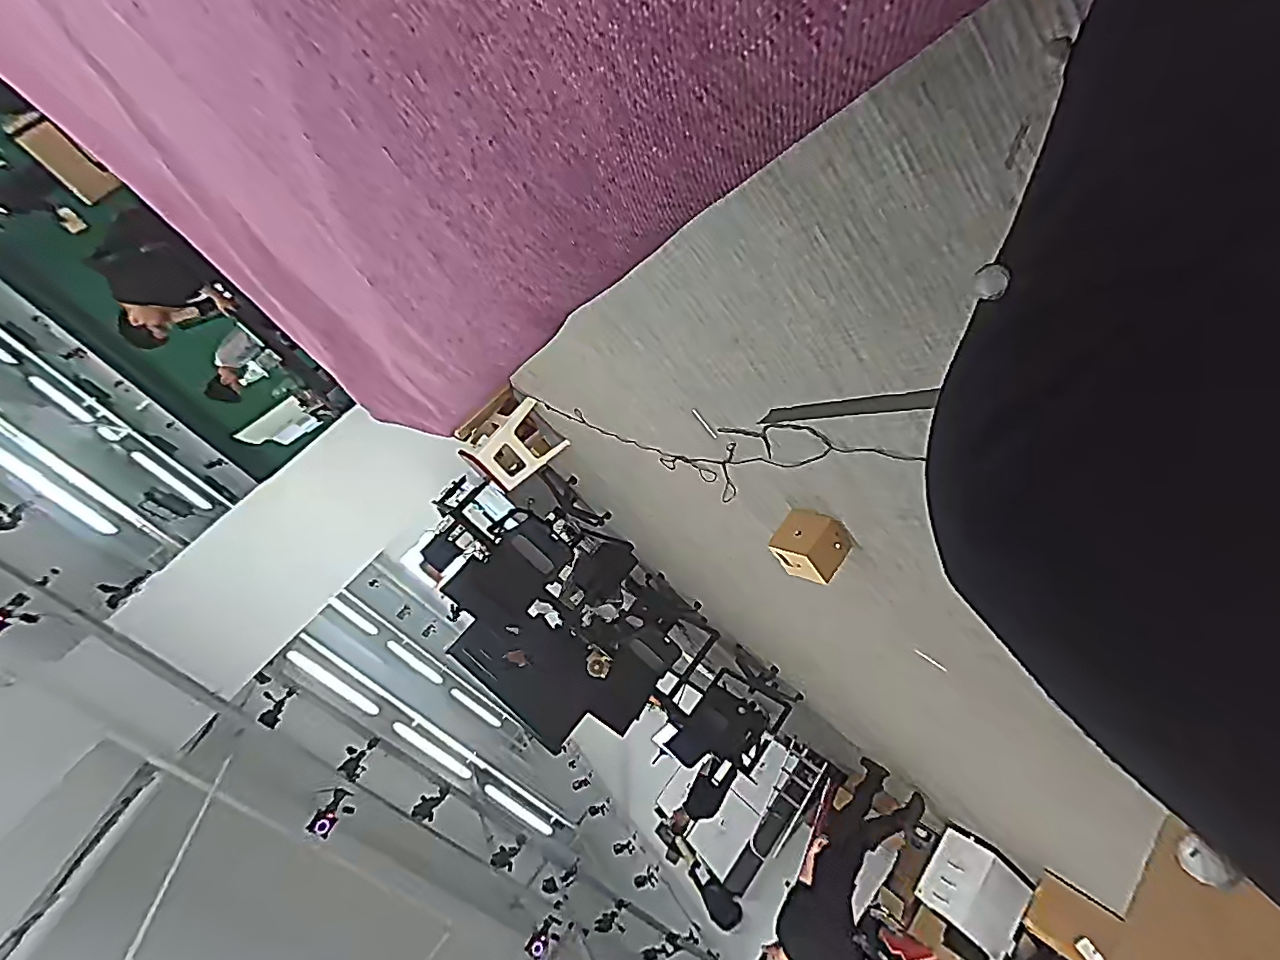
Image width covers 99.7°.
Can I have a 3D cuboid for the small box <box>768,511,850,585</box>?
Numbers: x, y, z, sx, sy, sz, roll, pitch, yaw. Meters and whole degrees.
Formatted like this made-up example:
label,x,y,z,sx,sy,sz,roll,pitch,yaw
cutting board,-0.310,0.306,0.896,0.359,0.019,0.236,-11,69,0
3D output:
label,x,y,z,sx,sy,sz,roll,pitch,yaw
small box,0.578,0.224,1.841,0.168,0.176,0.179,49,160,-27
